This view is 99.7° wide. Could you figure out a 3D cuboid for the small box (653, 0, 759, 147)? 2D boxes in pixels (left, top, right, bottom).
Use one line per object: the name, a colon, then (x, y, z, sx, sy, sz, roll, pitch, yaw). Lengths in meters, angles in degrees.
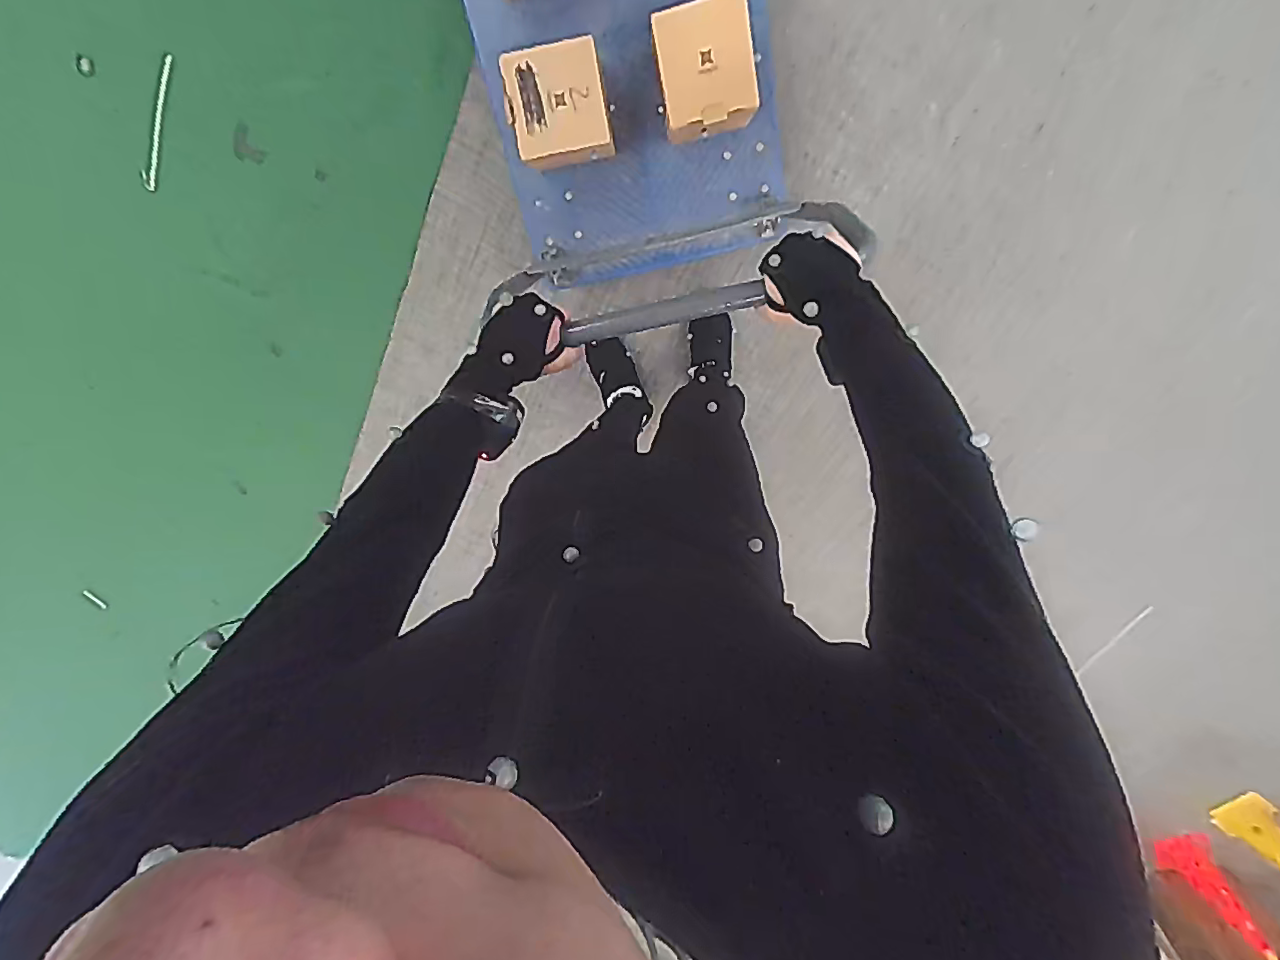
small box: (0.120, -0.760, 1.023, 0.168, 0.176, 0.179, -11, 114, 7)
